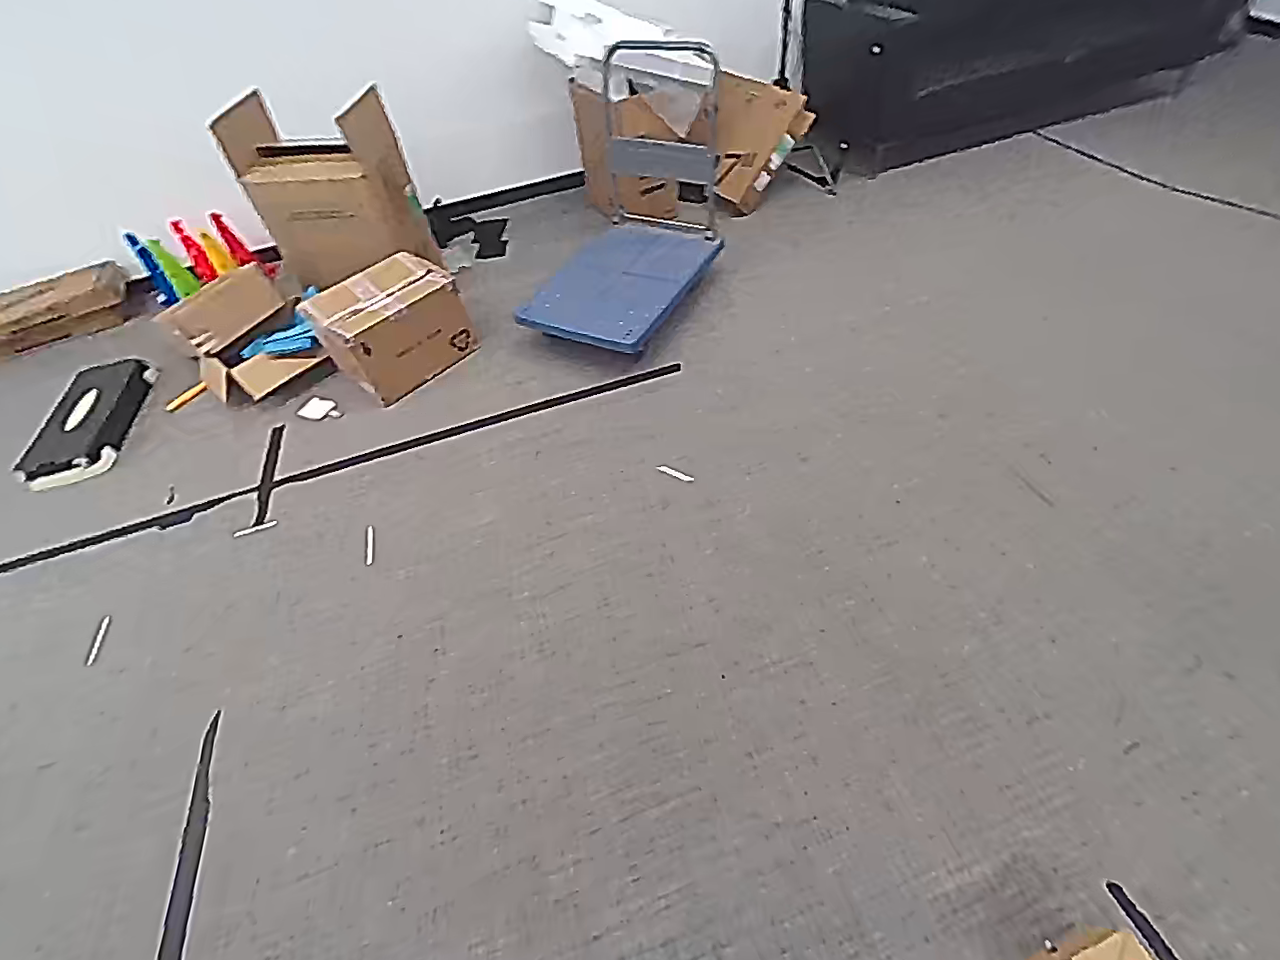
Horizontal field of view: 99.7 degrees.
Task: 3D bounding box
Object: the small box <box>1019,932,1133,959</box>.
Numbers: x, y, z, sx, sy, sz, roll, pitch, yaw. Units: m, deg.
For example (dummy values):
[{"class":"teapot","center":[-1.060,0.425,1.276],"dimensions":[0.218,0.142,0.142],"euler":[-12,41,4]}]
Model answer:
[{"class":"small box","center":[0.736,0.872,0.877],"dimensions":[0.179,0.176,0.168],"euler":[-19,50,-9]}]
